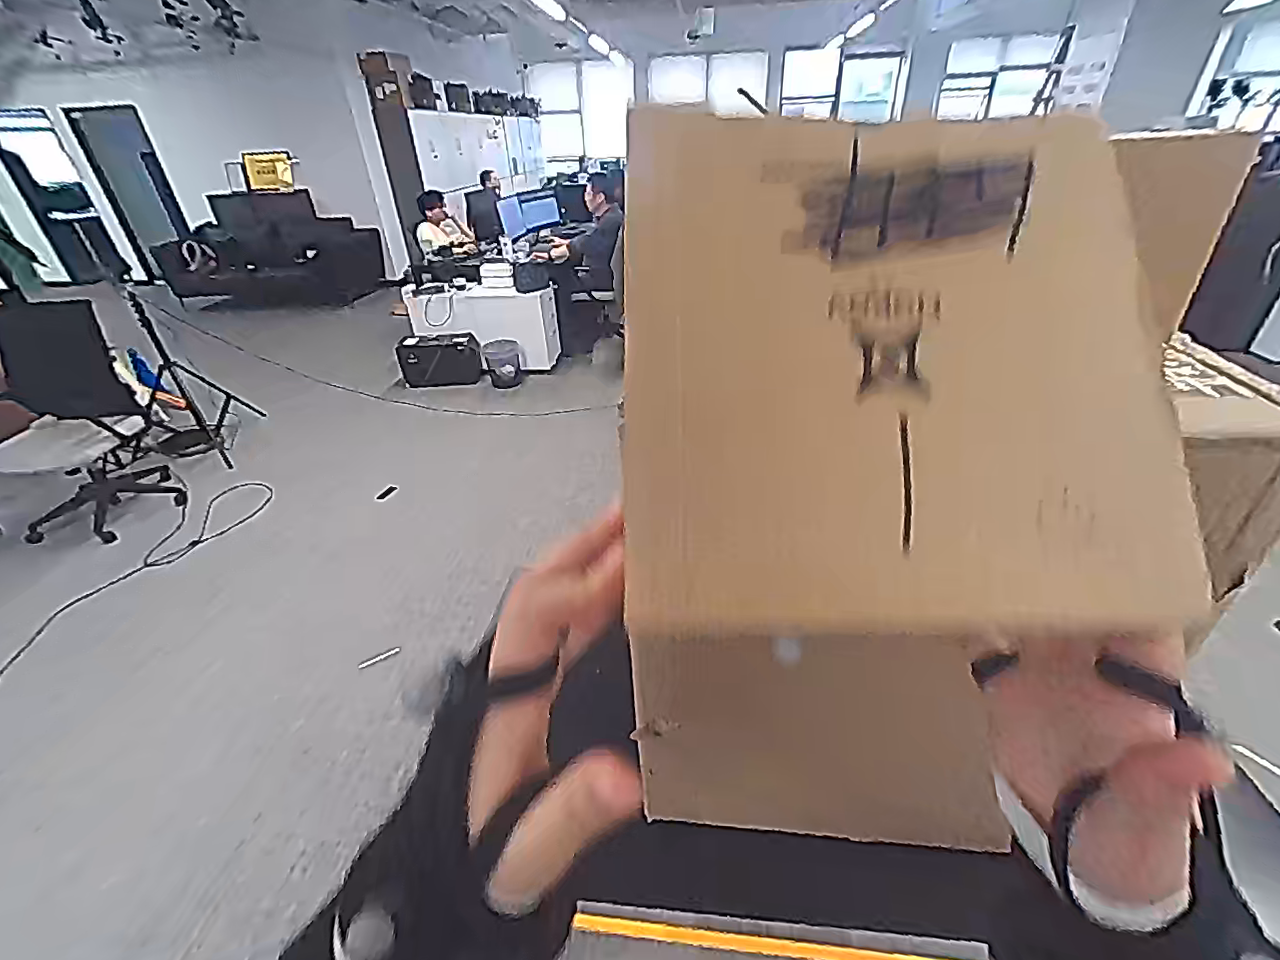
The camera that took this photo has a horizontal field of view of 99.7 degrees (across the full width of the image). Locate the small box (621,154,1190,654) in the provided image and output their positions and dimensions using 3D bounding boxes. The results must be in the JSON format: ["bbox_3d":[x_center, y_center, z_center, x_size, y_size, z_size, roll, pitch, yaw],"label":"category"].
[{"bbox_3d":[0.075,-0.013,0.253,0.168,0.176,0.179,0,75,-1],"label":"small box"}]

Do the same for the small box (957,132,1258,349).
[{"bbox_3d":[0.411,-0.238,0.537,0.168,0.176,0.179,1,32,9],"label":"small box"}]
